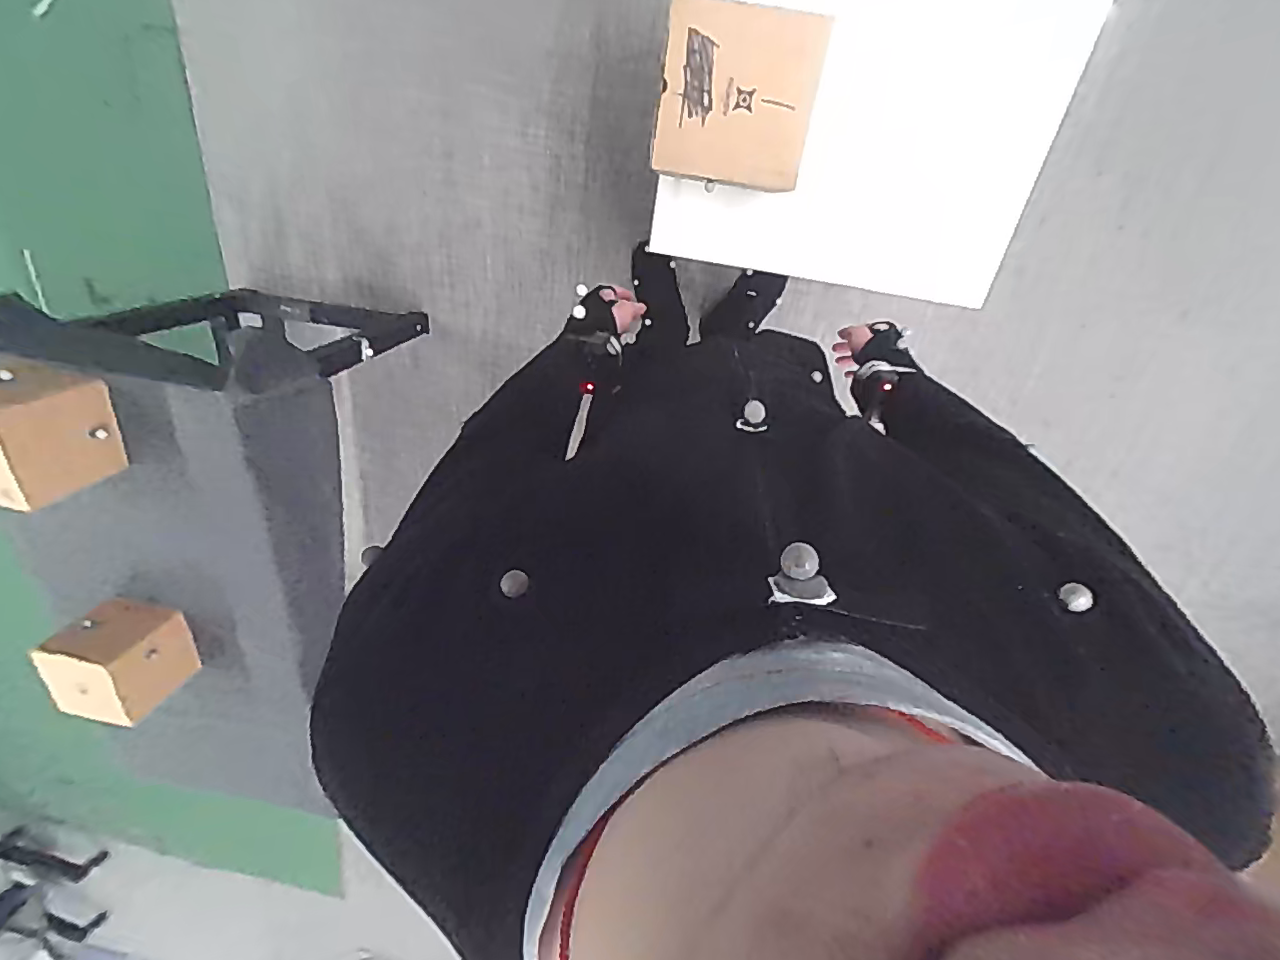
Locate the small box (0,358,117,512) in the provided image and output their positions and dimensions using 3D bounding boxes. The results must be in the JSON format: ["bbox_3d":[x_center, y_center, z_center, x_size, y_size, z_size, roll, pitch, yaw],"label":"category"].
[{"bbox_3d":[-1.007,-0.079,0.863,0.168,0.176,0.179,13,119,0],"label":"small box"}]

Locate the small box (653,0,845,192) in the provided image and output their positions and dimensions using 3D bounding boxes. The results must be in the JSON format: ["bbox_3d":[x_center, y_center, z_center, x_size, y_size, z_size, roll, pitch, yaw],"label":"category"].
[{"bbox_3d":[0.120,-0.457,0.661,0.179,0.176,0.168,10,119,0],"label":"small box"}]

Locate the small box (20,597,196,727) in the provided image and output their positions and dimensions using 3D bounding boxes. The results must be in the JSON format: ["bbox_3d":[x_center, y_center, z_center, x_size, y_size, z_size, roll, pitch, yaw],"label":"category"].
[{"bbox_3d":[-1.078,0.368,1.115,0.168,0.176,0.179,10,120,4],"label":"small box"}]
